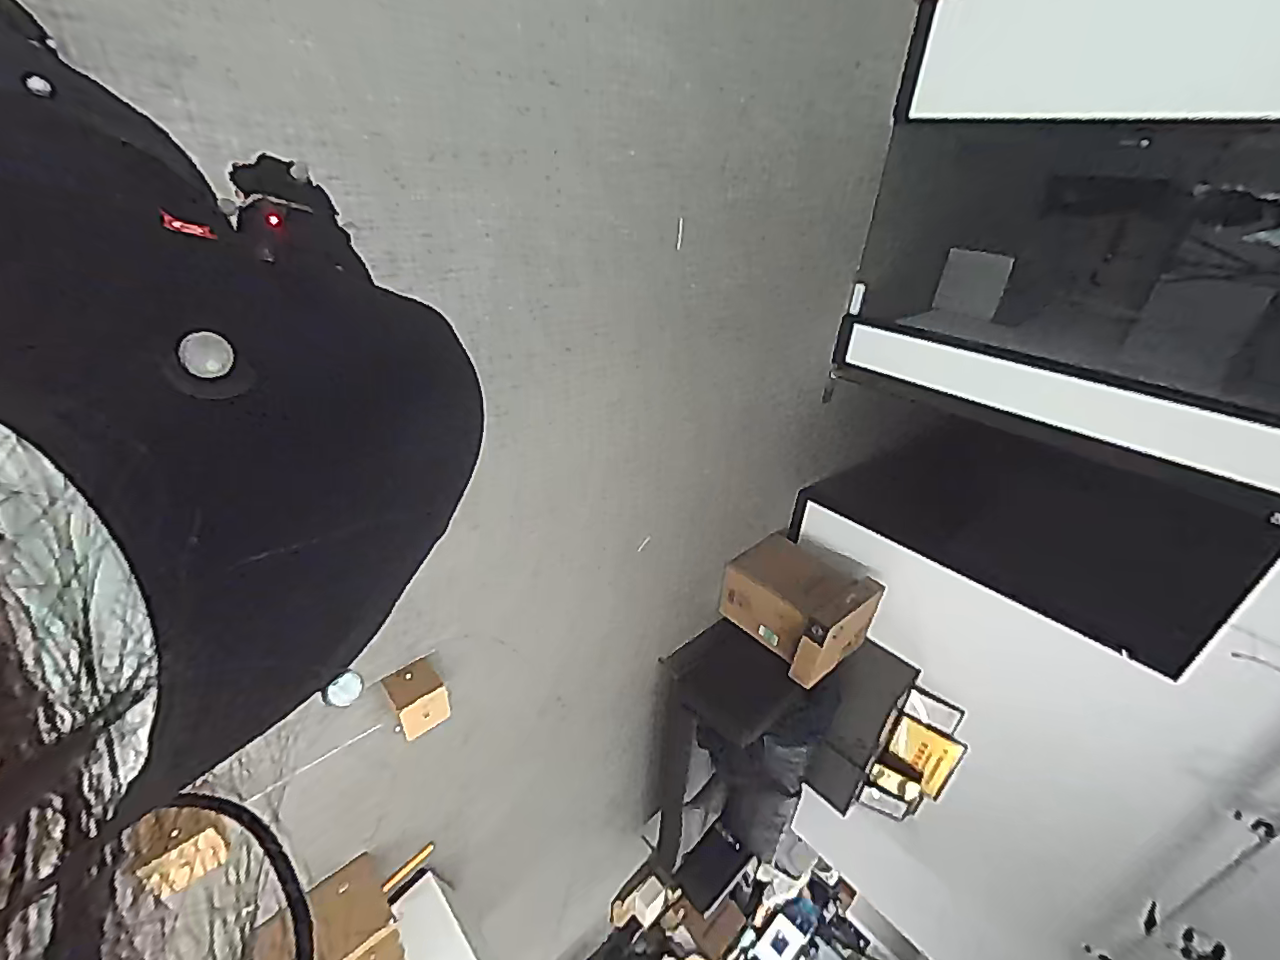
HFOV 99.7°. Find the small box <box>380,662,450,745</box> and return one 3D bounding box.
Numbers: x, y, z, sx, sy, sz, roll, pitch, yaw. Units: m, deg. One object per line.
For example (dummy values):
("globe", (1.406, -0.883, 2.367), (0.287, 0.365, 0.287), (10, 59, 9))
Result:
("small box", (-0.808, 0.796, 1.941), (0.168, 0.176, 0.179), (-25, 131, -37))

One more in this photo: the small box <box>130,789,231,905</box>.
("small box", (-1.307, 1.034, 1.535), (0.179, 0.176, 0.168), (-25, 130, -38))
